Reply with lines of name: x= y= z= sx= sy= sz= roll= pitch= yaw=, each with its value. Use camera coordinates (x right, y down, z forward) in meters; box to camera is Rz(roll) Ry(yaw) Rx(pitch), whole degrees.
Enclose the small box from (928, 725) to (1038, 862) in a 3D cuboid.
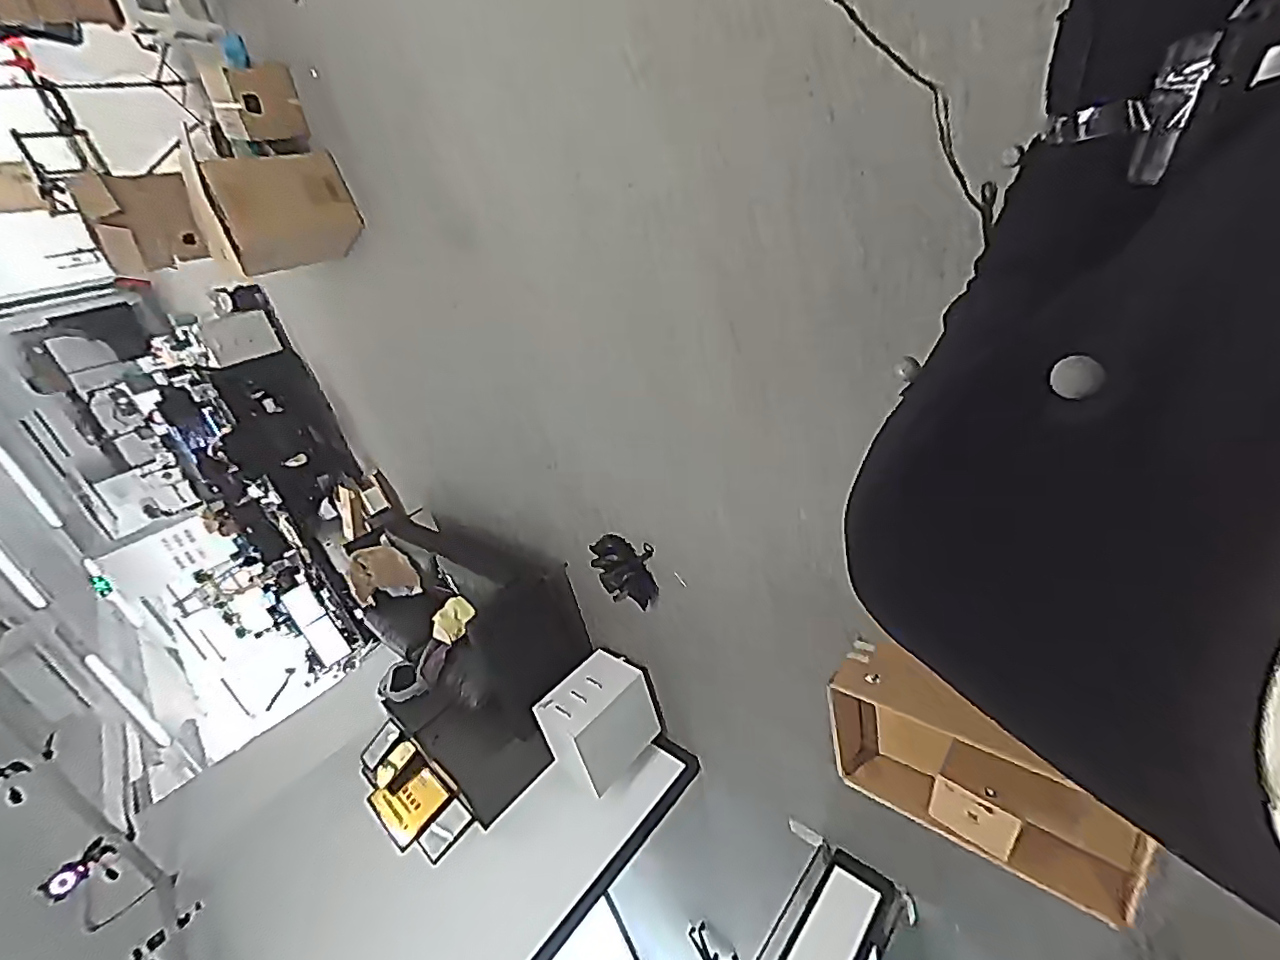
small box: x=0.788 y=0.713 z=1.245 sx=0.168 sy=0.176 sz=0.179 roll=18 pitch=131 yaw=39
